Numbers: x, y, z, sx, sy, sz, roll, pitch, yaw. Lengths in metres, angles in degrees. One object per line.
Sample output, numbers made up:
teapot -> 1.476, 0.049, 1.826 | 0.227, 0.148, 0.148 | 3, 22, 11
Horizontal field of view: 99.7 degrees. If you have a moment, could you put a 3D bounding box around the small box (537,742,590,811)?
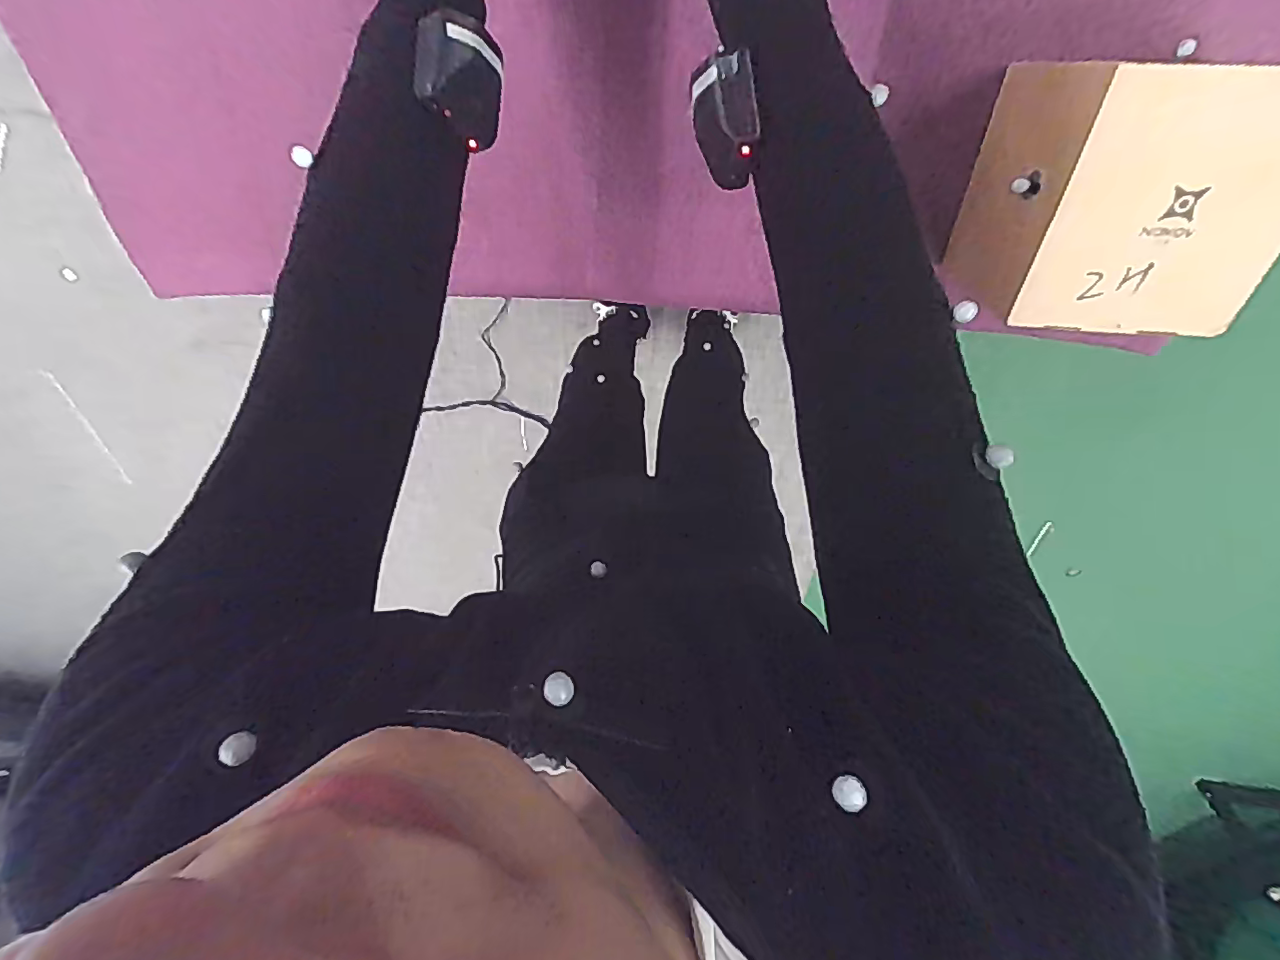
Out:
small box -> -0.282, 1.102, 2.012 | 0.168, 0.176, 0.179 | 9, 130, 1

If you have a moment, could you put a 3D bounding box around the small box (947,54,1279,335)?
small box -> 0.390, -0.241, 0.453 | 0.168, 0.176, 0.179 | 6, 128, 5
